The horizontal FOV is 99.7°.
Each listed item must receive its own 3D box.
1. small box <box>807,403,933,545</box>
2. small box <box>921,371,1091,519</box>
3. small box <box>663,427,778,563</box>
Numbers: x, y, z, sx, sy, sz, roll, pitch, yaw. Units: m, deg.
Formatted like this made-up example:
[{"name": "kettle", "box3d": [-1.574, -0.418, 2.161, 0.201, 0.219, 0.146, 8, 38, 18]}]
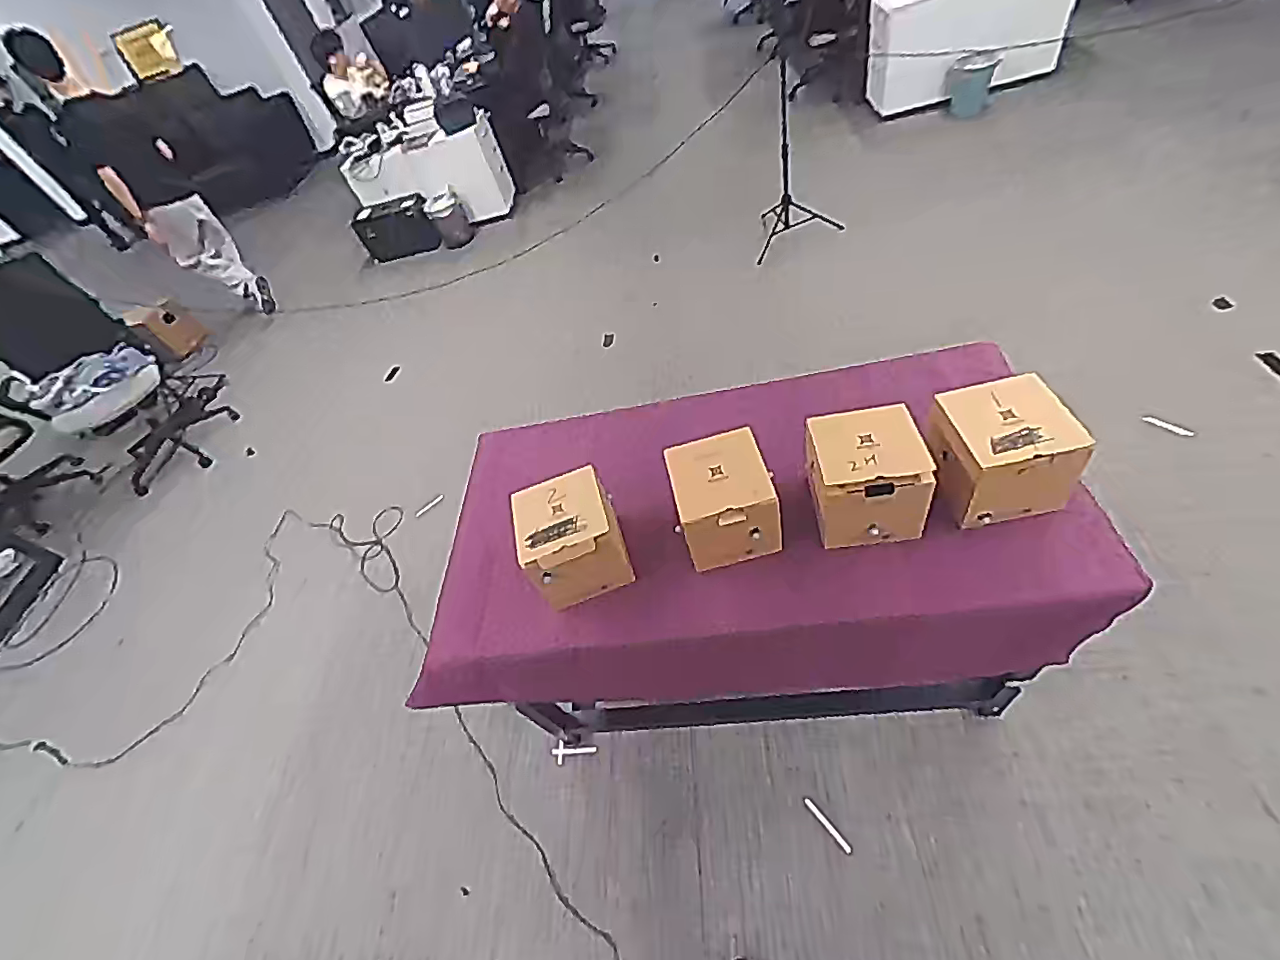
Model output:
[{"name": "small box", "box3d": [0.390, -0.007, 0.953, 0.168, 0.176, 0.179, -8, 50, 12]}, {"name": "small box", "box3d": [0.603, -0.050, 0.920, 0.168, 0.176, 0.179, -13, 48, 8]}, {"name": "small box", "box3d": [0.151, 0.037, 0.997, 0.168, 0.176, 0.179, -15, 49, 5]}]
